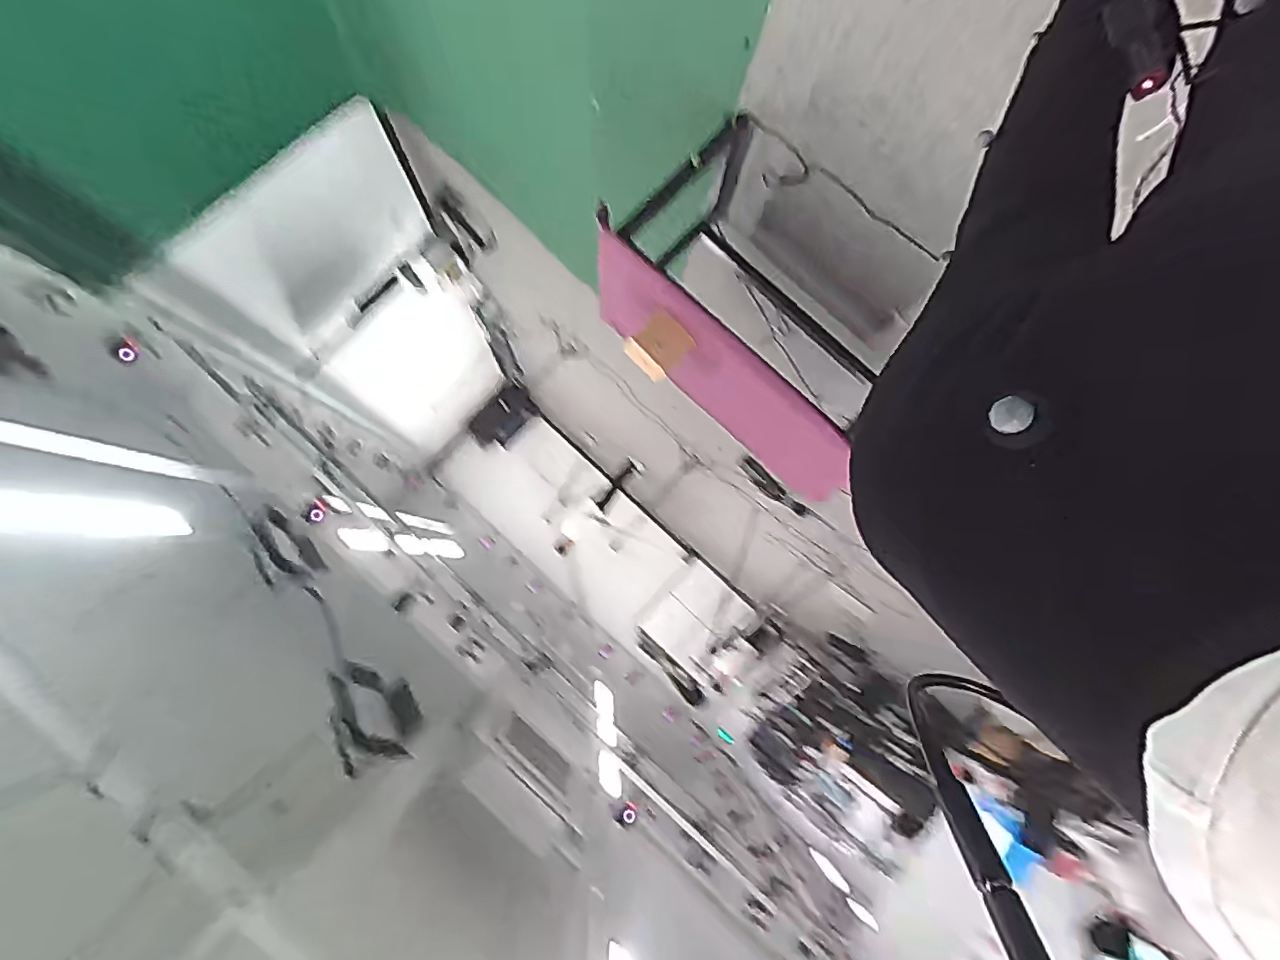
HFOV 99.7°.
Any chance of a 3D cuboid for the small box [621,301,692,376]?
[{"bbox_3d":[0.059,-0.511,1.961,0.179,0.176,0.168,44,171,-8],"label":"small box"}]
